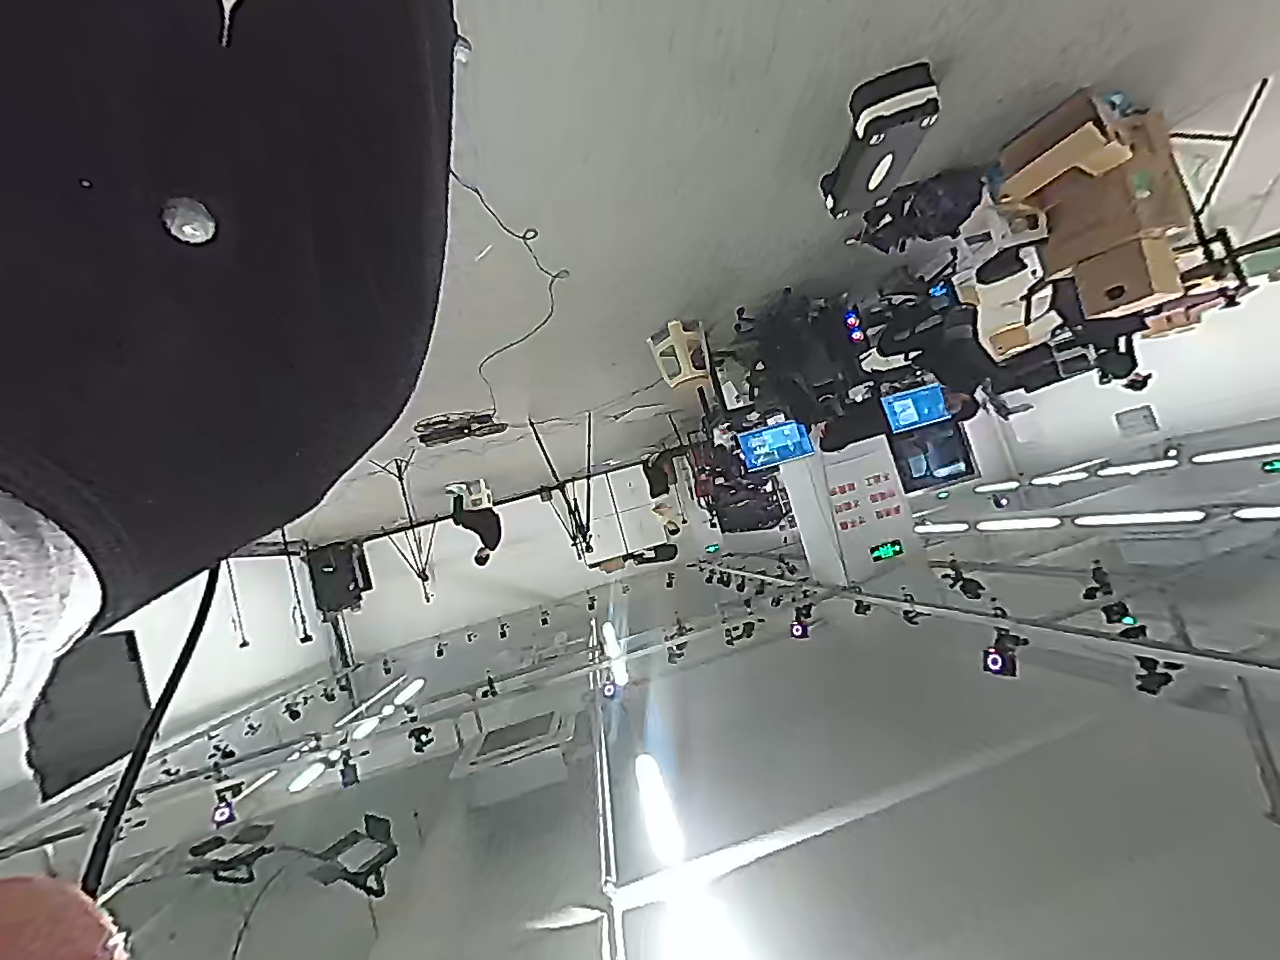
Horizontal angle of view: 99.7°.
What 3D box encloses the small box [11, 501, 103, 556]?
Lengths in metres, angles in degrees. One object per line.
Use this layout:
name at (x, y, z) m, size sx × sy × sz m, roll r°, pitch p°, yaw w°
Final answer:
small box at (-2.242, 0.185, 2.077) m, size 0.179 × 0.176 × 0.168 m, roll -16°, pitch 174°, yaw -6°
